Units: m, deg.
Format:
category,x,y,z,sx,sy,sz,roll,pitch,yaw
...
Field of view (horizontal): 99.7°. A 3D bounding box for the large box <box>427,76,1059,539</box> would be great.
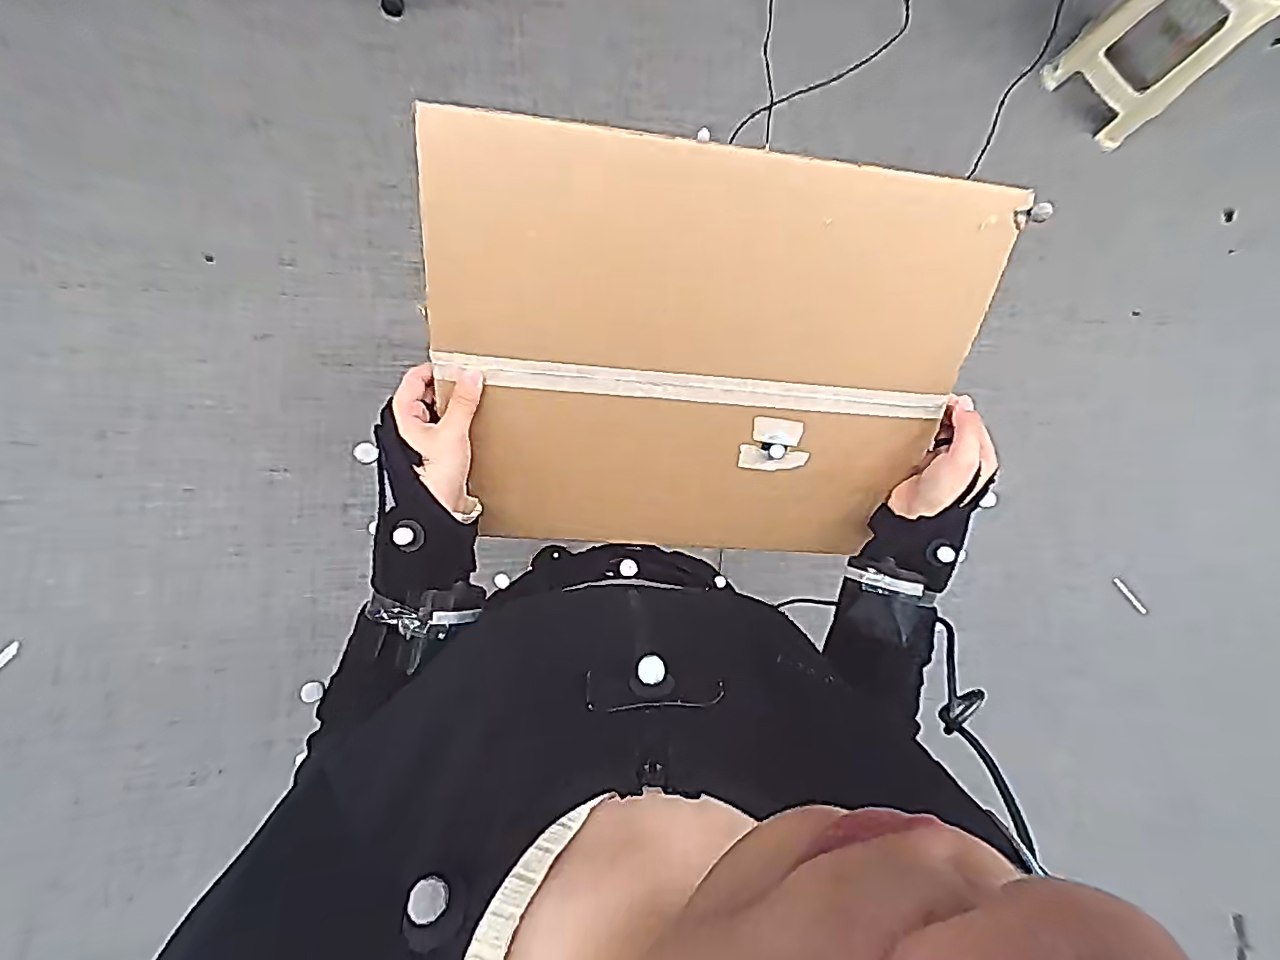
category,x,y,z,sx,sy,sz,roll,pitch,yaw
large box,0.047,-0.158,0.525,0.408,0.320,0.320,3,121,-8
